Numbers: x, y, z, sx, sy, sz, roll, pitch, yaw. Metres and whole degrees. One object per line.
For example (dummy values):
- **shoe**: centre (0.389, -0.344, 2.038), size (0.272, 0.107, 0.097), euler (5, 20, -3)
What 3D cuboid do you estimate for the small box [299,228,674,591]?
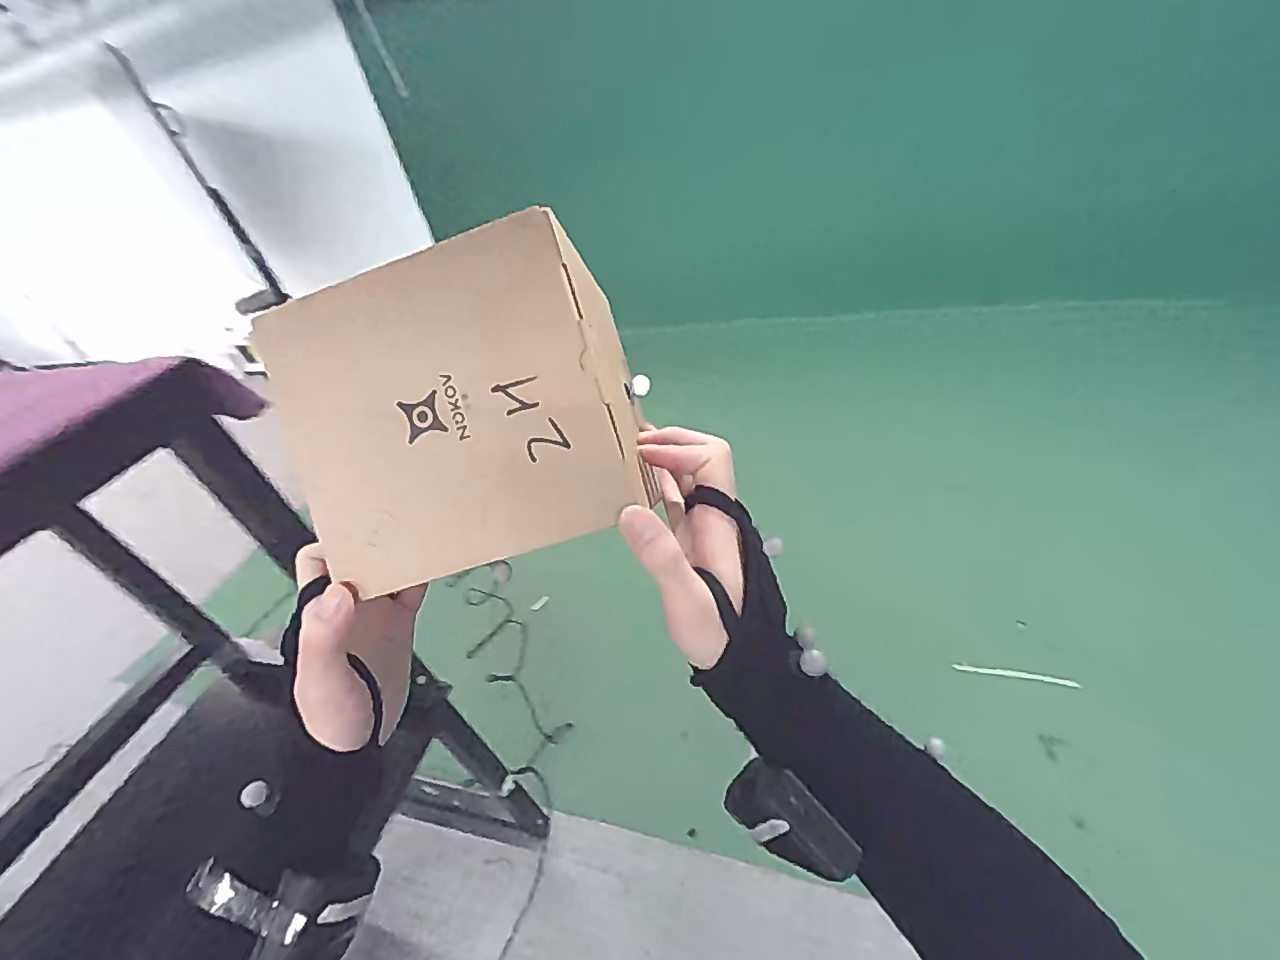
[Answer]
- **small box**: centre (-0.084, -0.036, 0.378), size (0.179, 0.168, 0.176), euler (-16, -1, 7)
